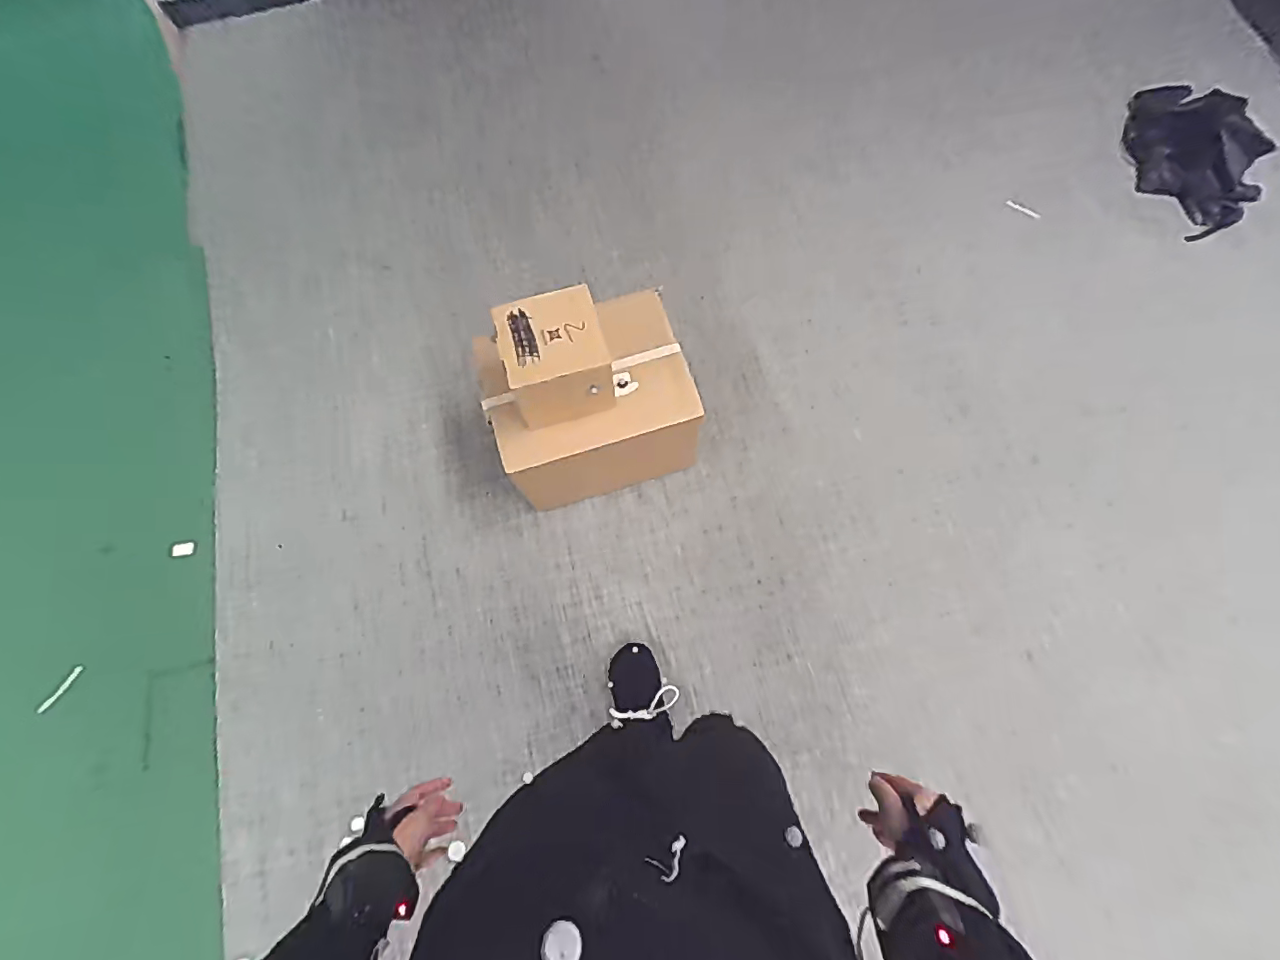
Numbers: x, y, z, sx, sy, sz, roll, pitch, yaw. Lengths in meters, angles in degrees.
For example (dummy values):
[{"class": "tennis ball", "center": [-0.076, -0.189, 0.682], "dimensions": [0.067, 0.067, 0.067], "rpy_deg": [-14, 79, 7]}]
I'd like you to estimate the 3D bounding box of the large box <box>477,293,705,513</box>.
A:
[{"class": "large box", "center": [-0.104, -0.157, 1.228], "dimensions": [0.408, 0.320, 0.320], "rpy_deg": [-17, 74, -5]}]
